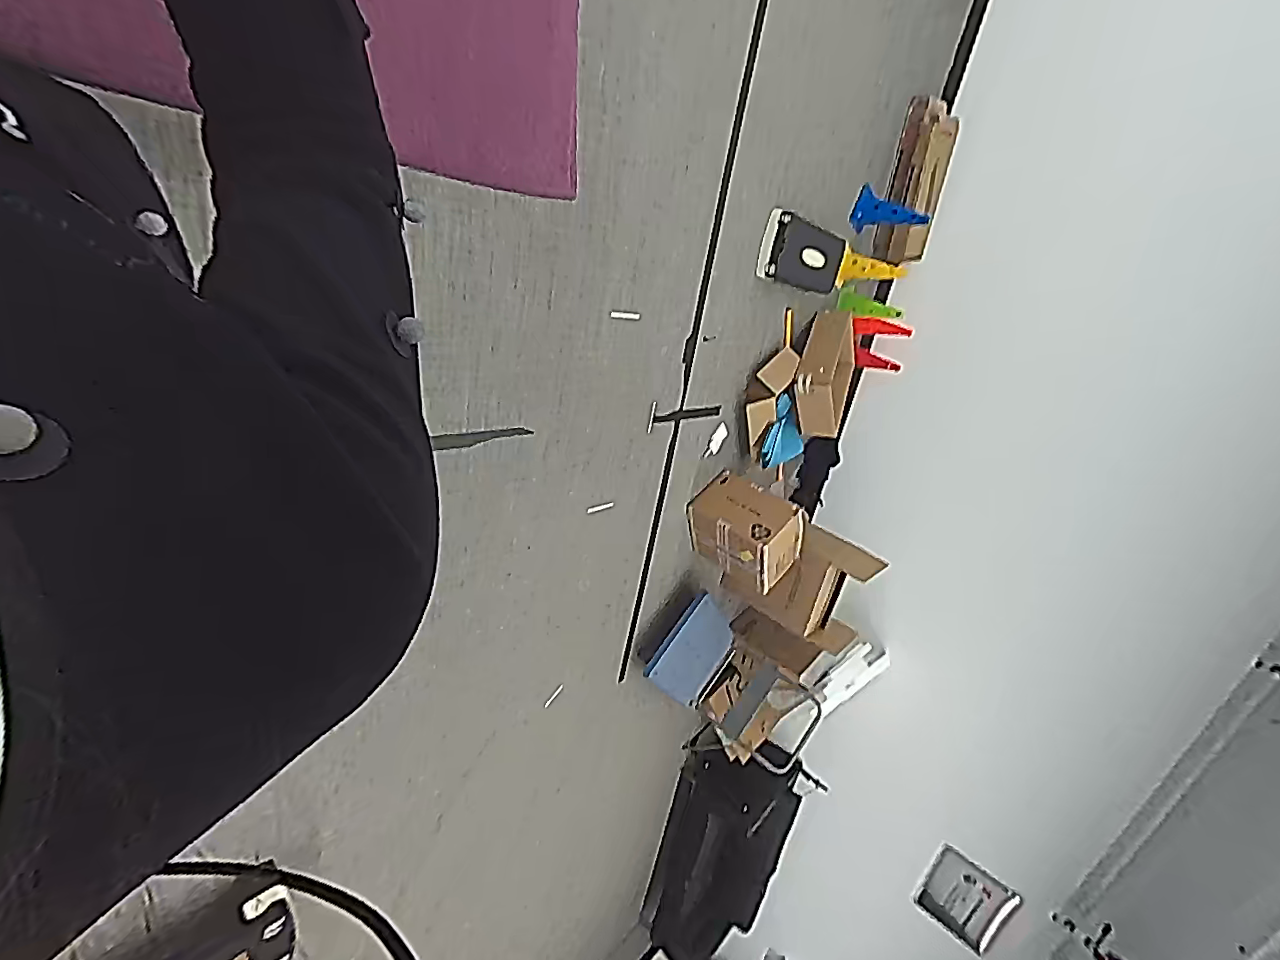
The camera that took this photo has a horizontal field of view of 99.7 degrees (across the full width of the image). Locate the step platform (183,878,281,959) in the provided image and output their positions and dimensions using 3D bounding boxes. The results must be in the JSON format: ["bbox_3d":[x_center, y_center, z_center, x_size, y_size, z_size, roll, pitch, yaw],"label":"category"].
[{"bbox_3d":[-1.397,1.468,1.484,0.684,0.204,0.286,-15,125,-48],"label":"step platform"}]
